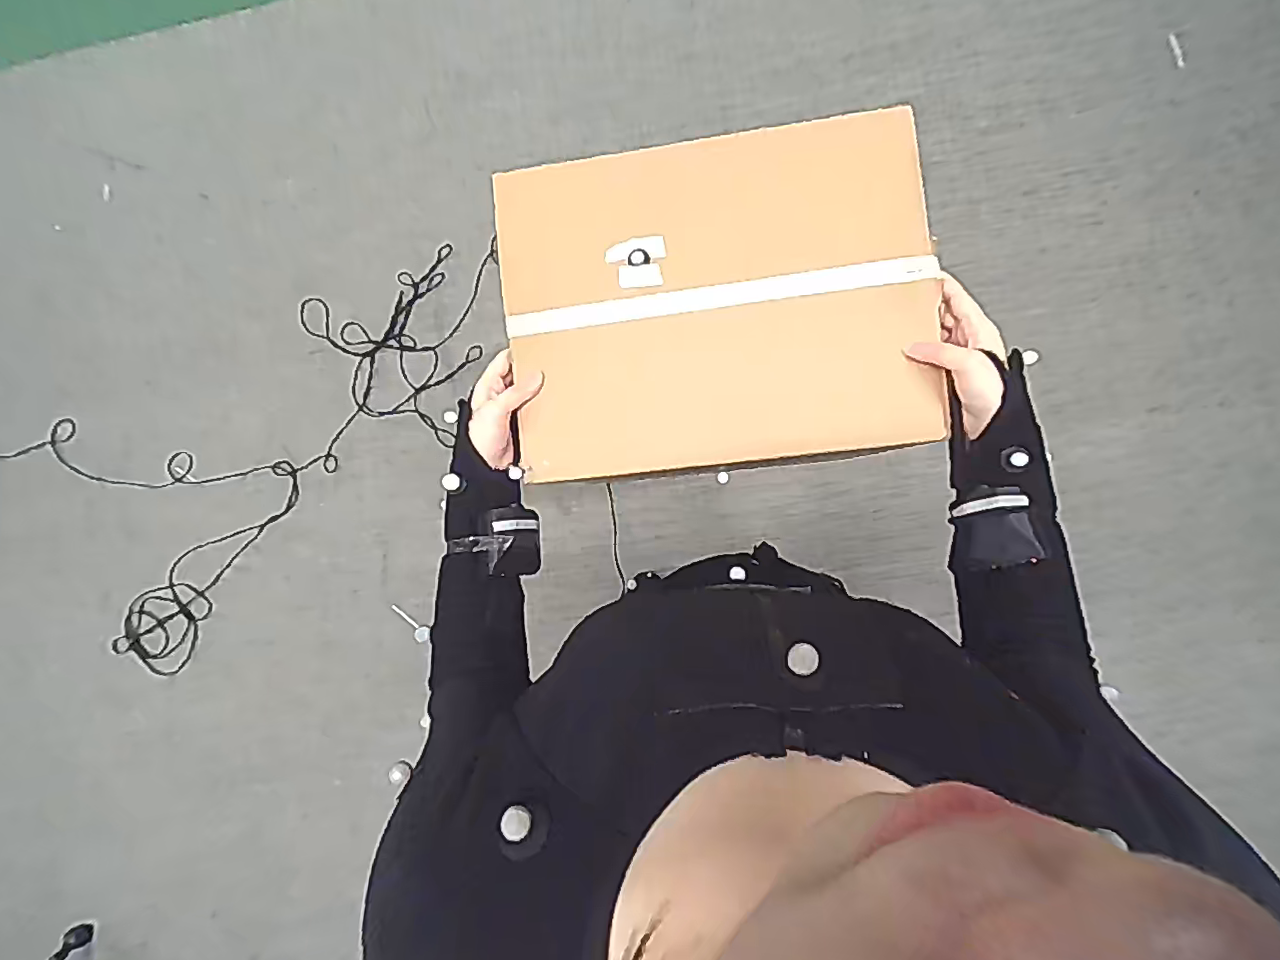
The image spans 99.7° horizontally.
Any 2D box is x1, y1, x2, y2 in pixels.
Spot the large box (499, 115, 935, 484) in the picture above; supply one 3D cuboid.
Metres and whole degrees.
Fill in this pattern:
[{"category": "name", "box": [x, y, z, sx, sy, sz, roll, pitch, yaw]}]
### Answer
[{"category": "large box", "box": [0.085, -0.173, 0.679, 0.408, 0.320, 0.320, -6, 89, 7]}]
